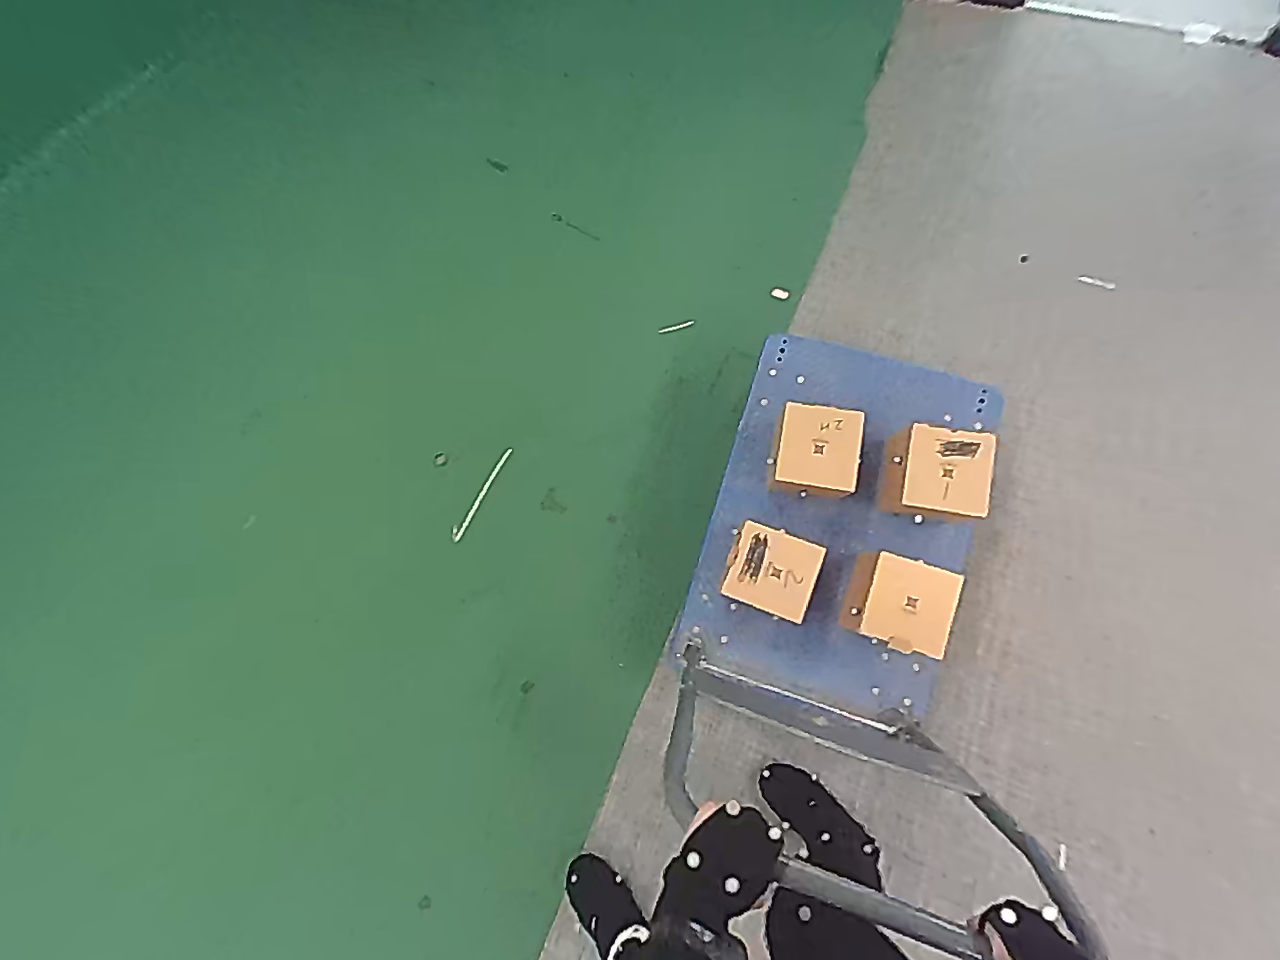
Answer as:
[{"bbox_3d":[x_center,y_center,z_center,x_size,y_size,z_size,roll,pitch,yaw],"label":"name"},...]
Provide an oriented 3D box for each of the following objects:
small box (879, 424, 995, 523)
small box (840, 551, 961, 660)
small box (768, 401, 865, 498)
[{"bbox_3d":[0.643,-0.009,1.189,0.168,0.176,0.179,11,84,8],"label":"small box"},{"bbox_3d":[0.548,0.260,1.162,0.168,0.176,0.179,18,85,9],"label":"small box"},{"bbox_3d":[0.390,-0.061,1.226,0.168,0.176,0.179,10,83,7],"label":"small box"}]
